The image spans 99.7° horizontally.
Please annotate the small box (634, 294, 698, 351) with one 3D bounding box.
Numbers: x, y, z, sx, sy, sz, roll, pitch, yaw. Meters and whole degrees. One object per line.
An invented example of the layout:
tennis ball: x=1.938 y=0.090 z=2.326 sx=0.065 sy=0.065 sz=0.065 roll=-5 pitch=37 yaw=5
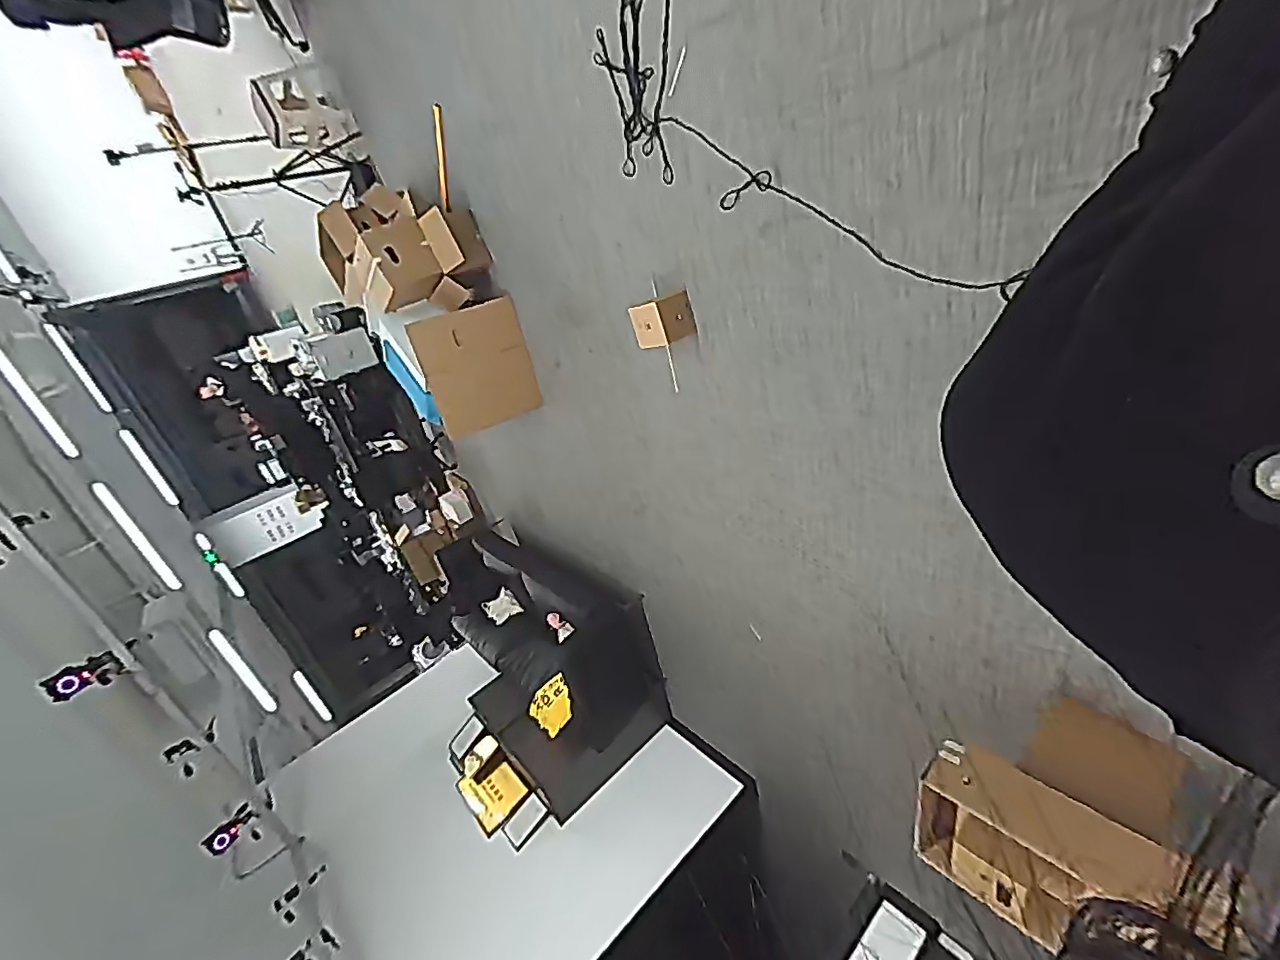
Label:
small box: x=0.109 y=-0.619 z=2.121 sx=0.179 sy=0.176 sz=0.168 roll=10 pitch=125 yaw=52
